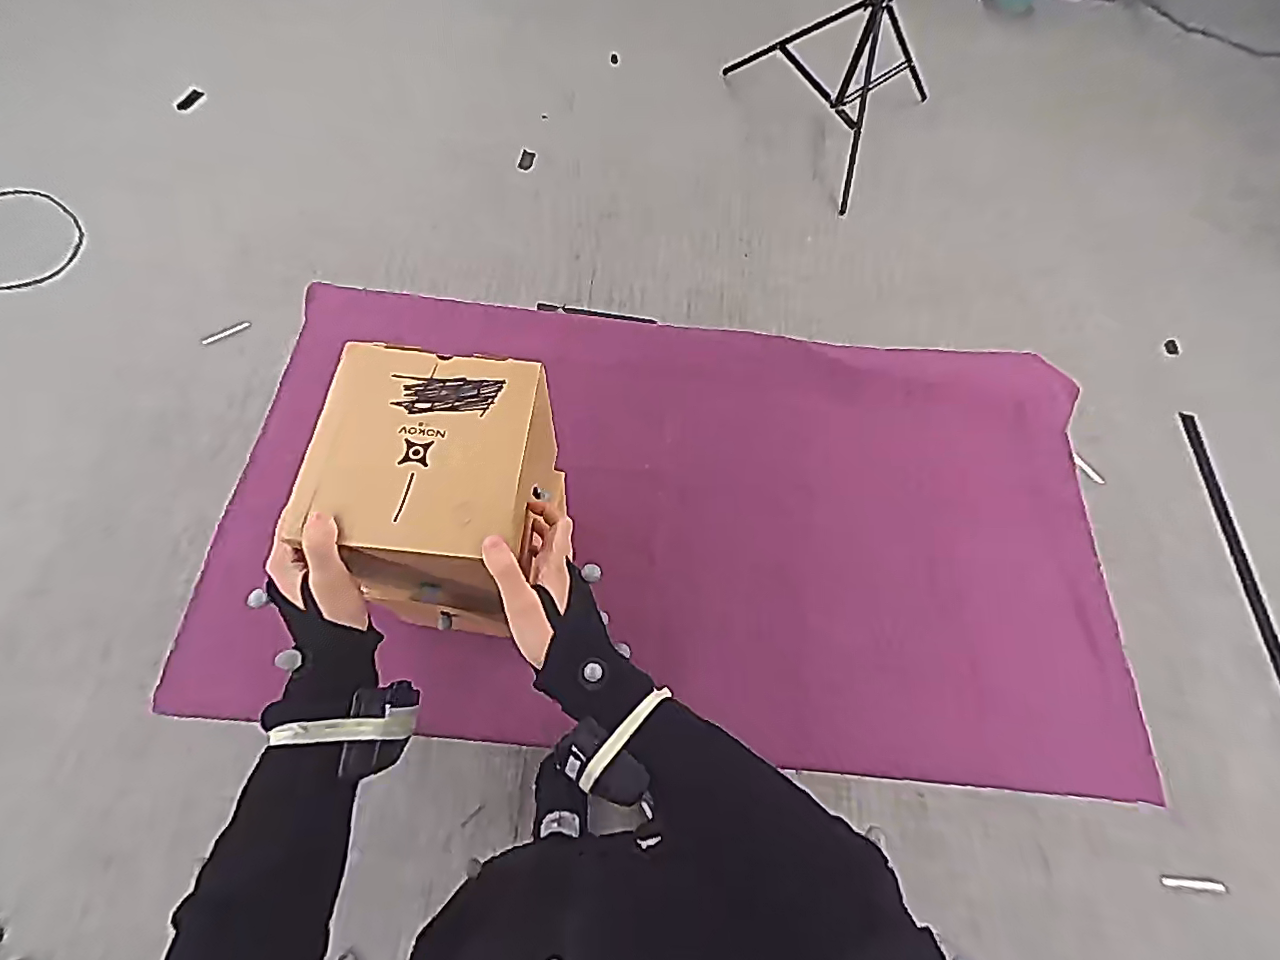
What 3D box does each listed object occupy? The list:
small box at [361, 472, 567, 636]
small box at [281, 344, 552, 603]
[{"bbox_3d":[-0.187,0.084,0.642,0.179,0.176,0.168,8,66,-1],"label":"small box"},{"bbox_3d":[-0.177,0.004,0.498,0.168,0.176,0.179,6,67,-2],"label":"small box"}]
